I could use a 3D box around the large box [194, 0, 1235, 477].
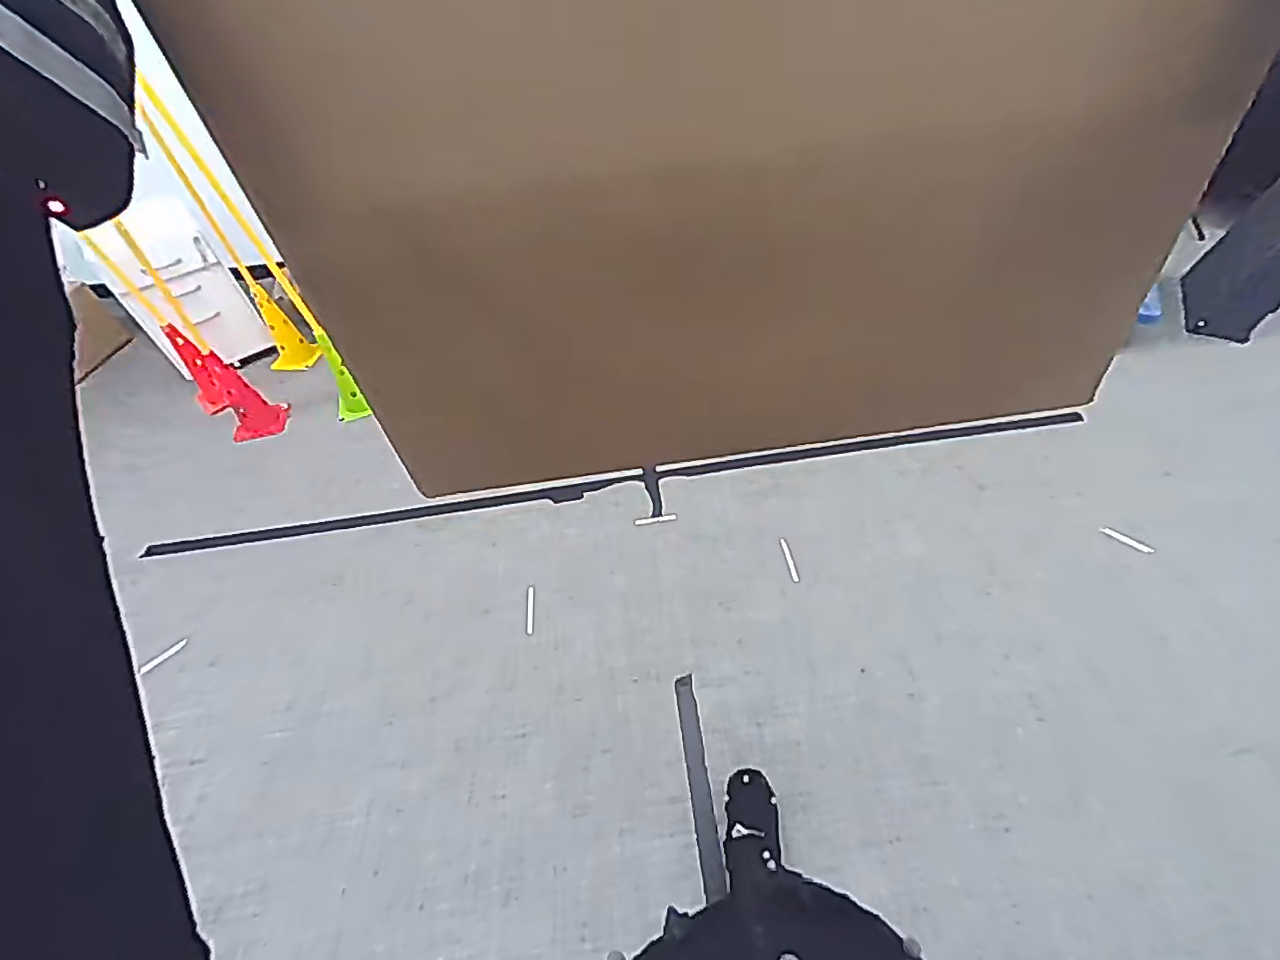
[{"bbox_3d":[0.033,-0.235,0.348,0.408,0.320,0.320,-8,43,1],"label":"large box"}]
